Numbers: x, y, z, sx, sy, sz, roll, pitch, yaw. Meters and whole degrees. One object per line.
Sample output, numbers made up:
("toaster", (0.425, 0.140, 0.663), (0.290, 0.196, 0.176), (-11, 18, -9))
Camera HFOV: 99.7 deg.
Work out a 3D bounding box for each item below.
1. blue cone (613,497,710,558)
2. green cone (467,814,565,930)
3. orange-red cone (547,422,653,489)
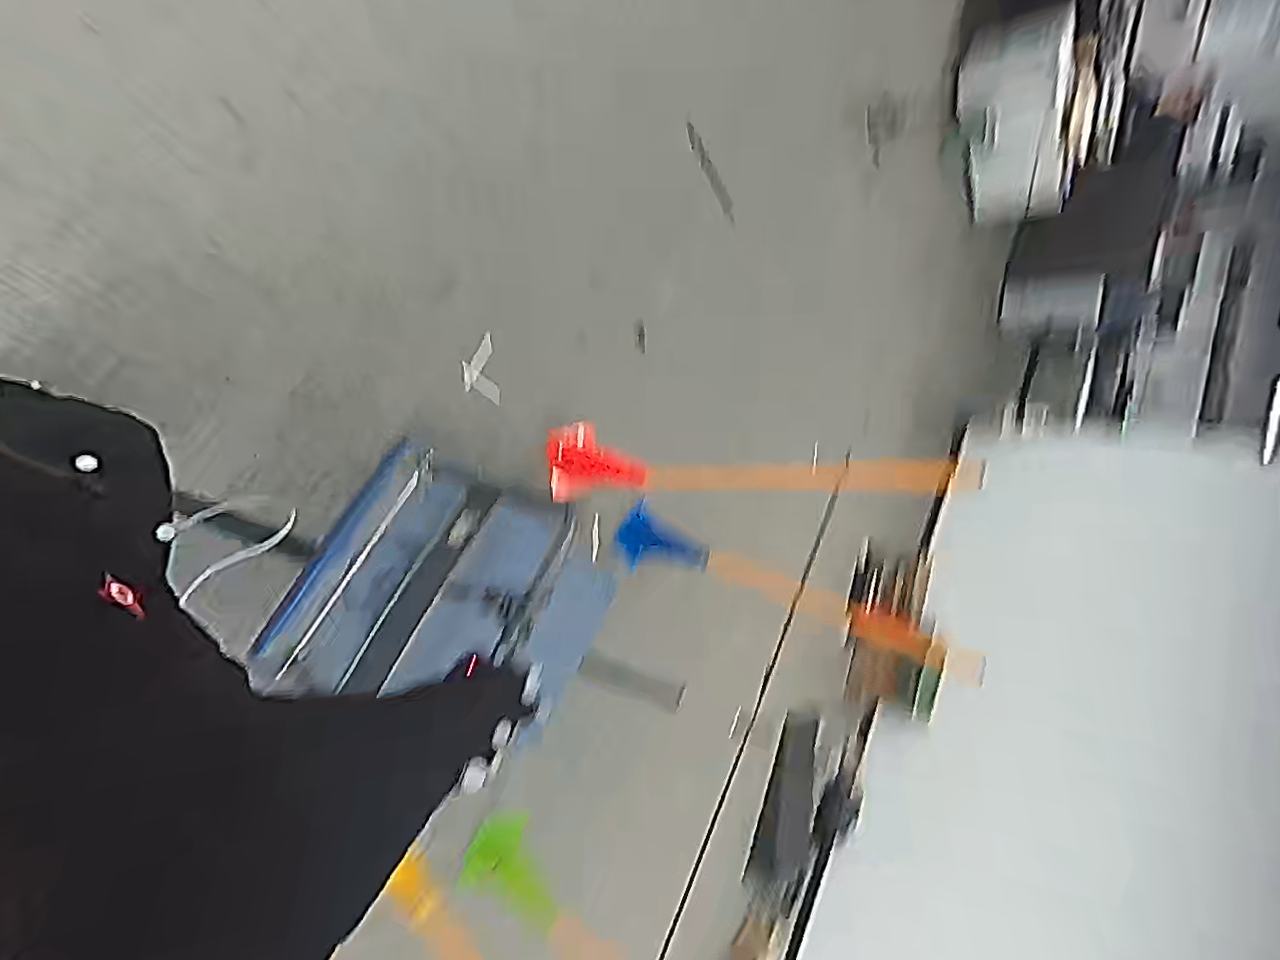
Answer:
("blue cone", (0.101, 0.212, 1.974), (0.193, 0.380, 0.192), (-53, 131, -24))
("green cone", (-0.357, 1.270, 1.713), (0.202, 0.368, 0.200), (20, 84, -46))
("orange-red cone", (-0.099, -0.053, 1.680), (0.198, 0.360, 0.199), (-22, 116, -41))
